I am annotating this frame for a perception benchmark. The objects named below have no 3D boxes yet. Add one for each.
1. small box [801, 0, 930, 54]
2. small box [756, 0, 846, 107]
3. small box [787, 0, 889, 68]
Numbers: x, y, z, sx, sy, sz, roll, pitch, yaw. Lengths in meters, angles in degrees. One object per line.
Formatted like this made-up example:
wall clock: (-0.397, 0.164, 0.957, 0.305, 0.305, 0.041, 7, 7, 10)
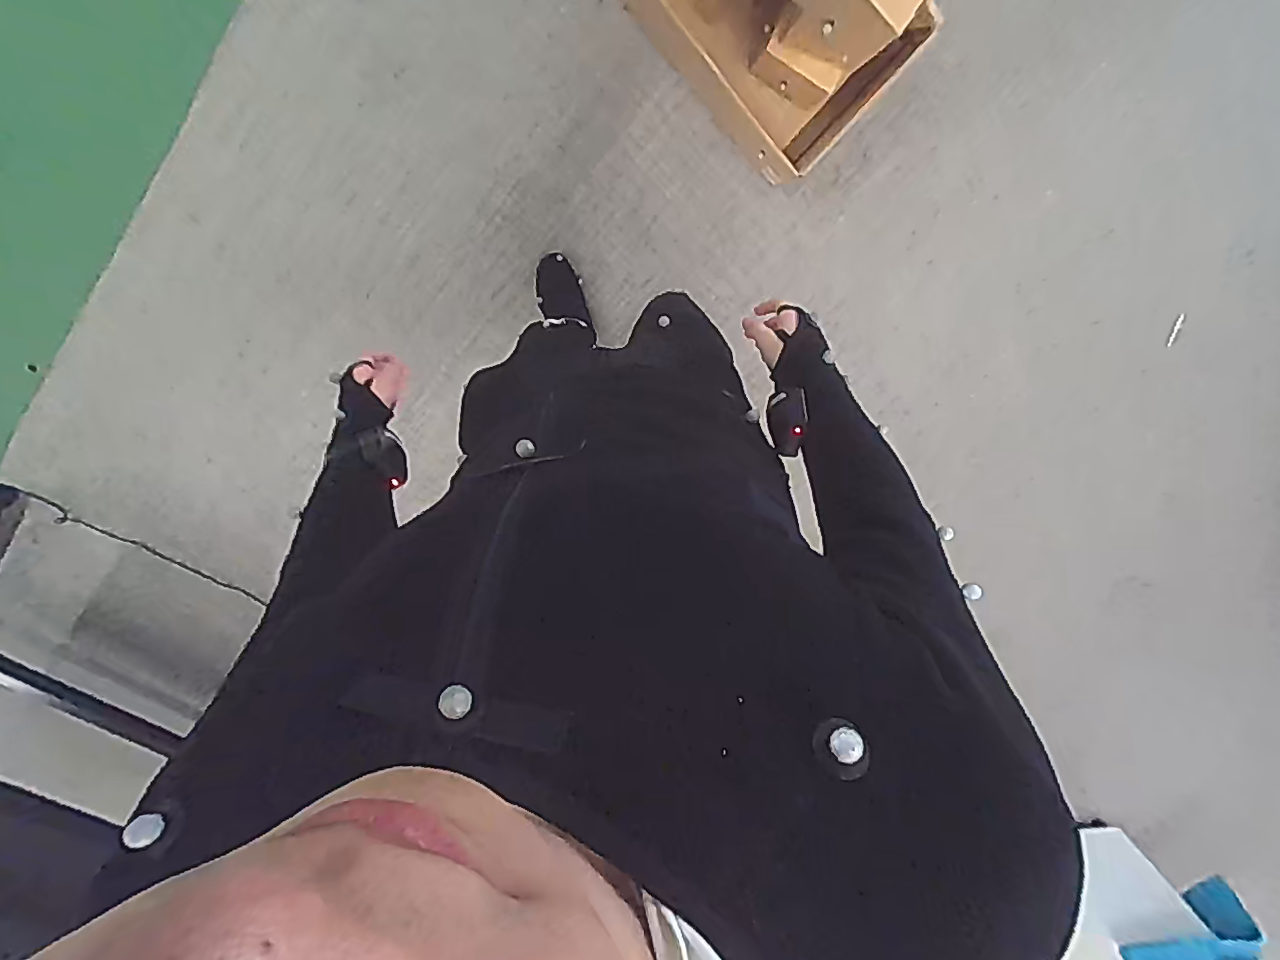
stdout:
small box: (0.377, -0.819, 0.850, 0.179, 0.176, 0.168, 33, 108, -16)
small box: (0.367, -0.940, 1.153, 0.168, 0.176, 0.179, 25, 110, -13)
small box: (0.389, -0.901, 0.993, 0.168, 0.176, 0.179, 15, 112, -9)
